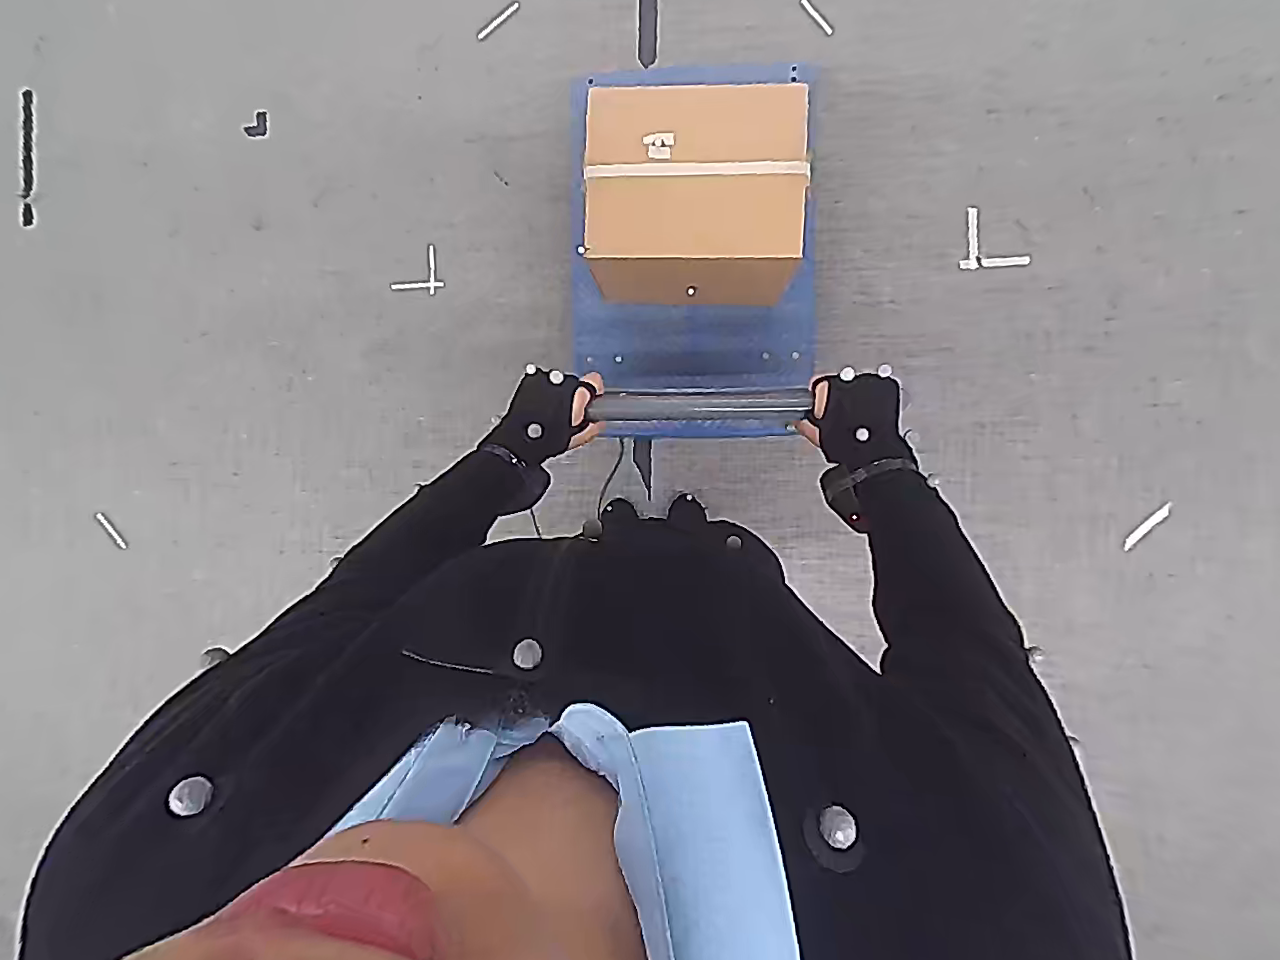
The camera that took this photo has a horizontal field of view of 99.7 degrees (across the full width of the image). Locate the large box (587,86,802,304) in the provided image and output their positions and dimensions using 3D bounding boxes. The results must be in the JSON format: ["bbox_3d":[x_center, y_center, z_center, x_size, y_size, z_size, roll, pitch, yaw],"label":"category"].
[{"bbox_3d":[0.114,-0.574,1.157,0.408,0.320,0.320,2,91,5],"label":"large box"}]
